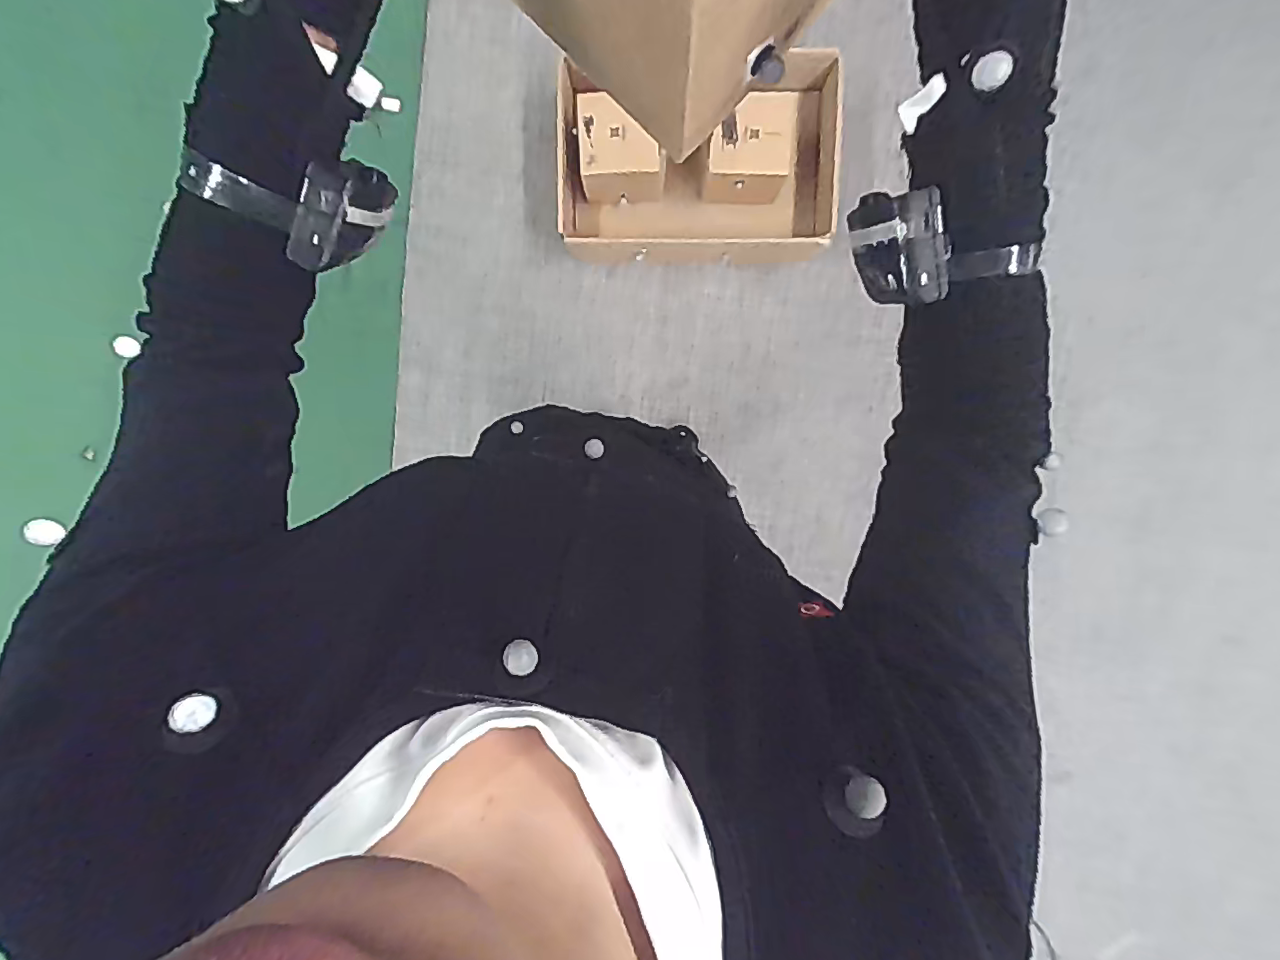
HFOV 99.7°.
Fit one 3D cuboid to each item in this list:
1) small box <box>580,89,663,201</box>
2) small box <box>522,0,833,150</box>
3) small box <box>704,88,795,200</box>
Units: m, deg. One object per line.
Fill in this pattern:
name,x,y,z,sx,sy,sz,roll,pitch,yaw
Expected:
small box,-0.041,-0.756,1.235,0.179,0.176,0.168,-2,96,0
small box,0.022,-0.336,0.301,0.179,0.176,0.168,43,96,-3
small box,0.240,-0.753,1.228,0.179,0.176,0.168,3,97,2
